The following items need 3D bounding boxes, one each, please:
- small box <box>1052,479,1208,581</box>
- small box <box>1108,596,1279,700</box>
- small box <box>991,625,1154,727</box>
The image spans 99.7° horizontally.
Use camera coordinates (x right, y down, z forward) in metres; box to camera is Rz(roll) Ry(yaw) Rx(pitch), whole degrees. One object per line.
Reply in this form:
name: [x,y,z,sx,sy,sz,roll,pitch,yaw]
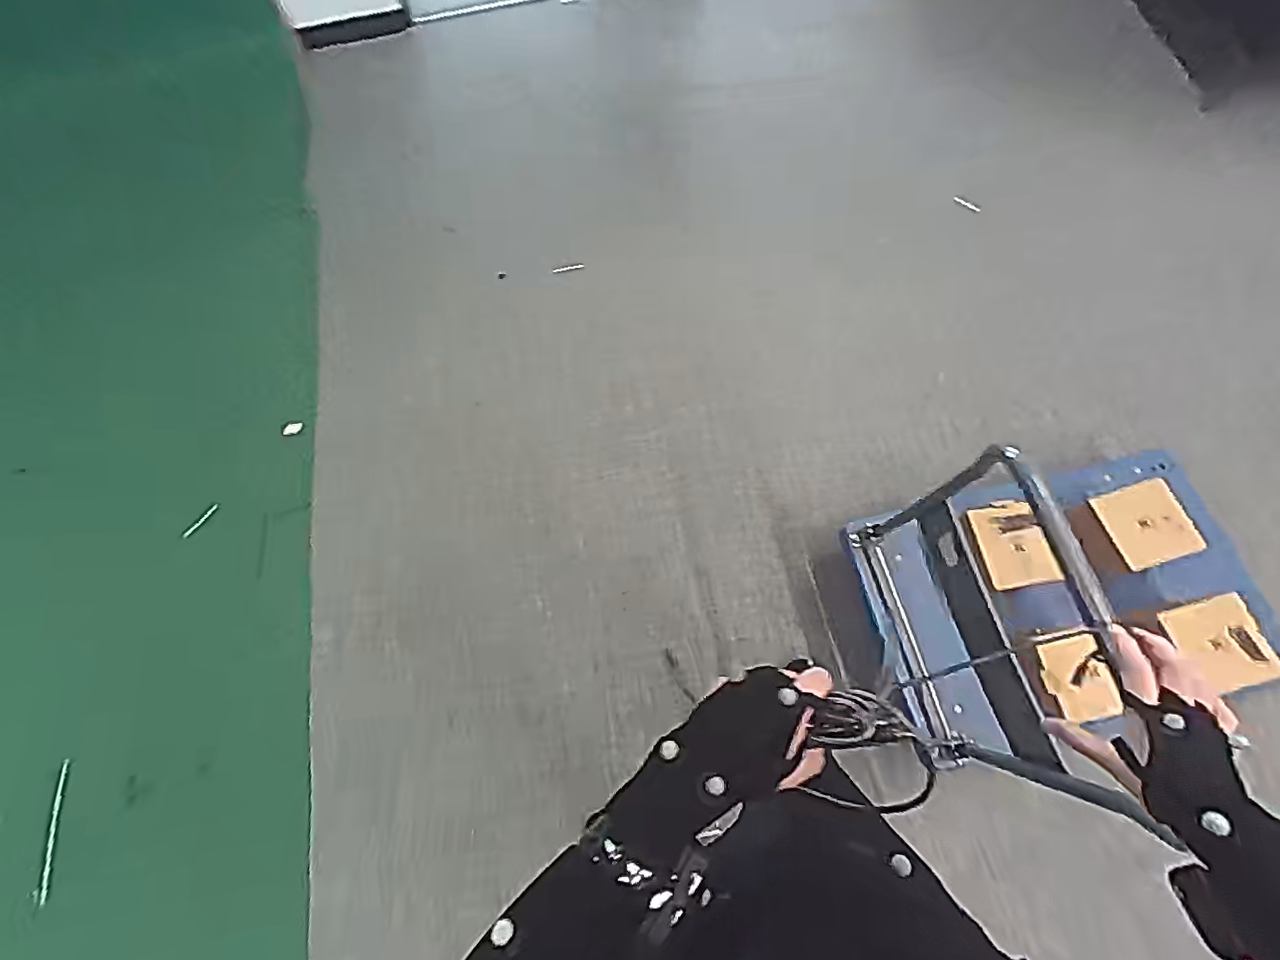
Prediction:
small box: [1.087,0.121,1.225,0.179,0.176,0.168,-17,71,-3]
small box: [1.154,0.353,1.138,0.179,0.176,0.168,-15,70,-1]
small box: [0.895,0.407,1.138,0.179,0.176,0.168,-12,70,0]
